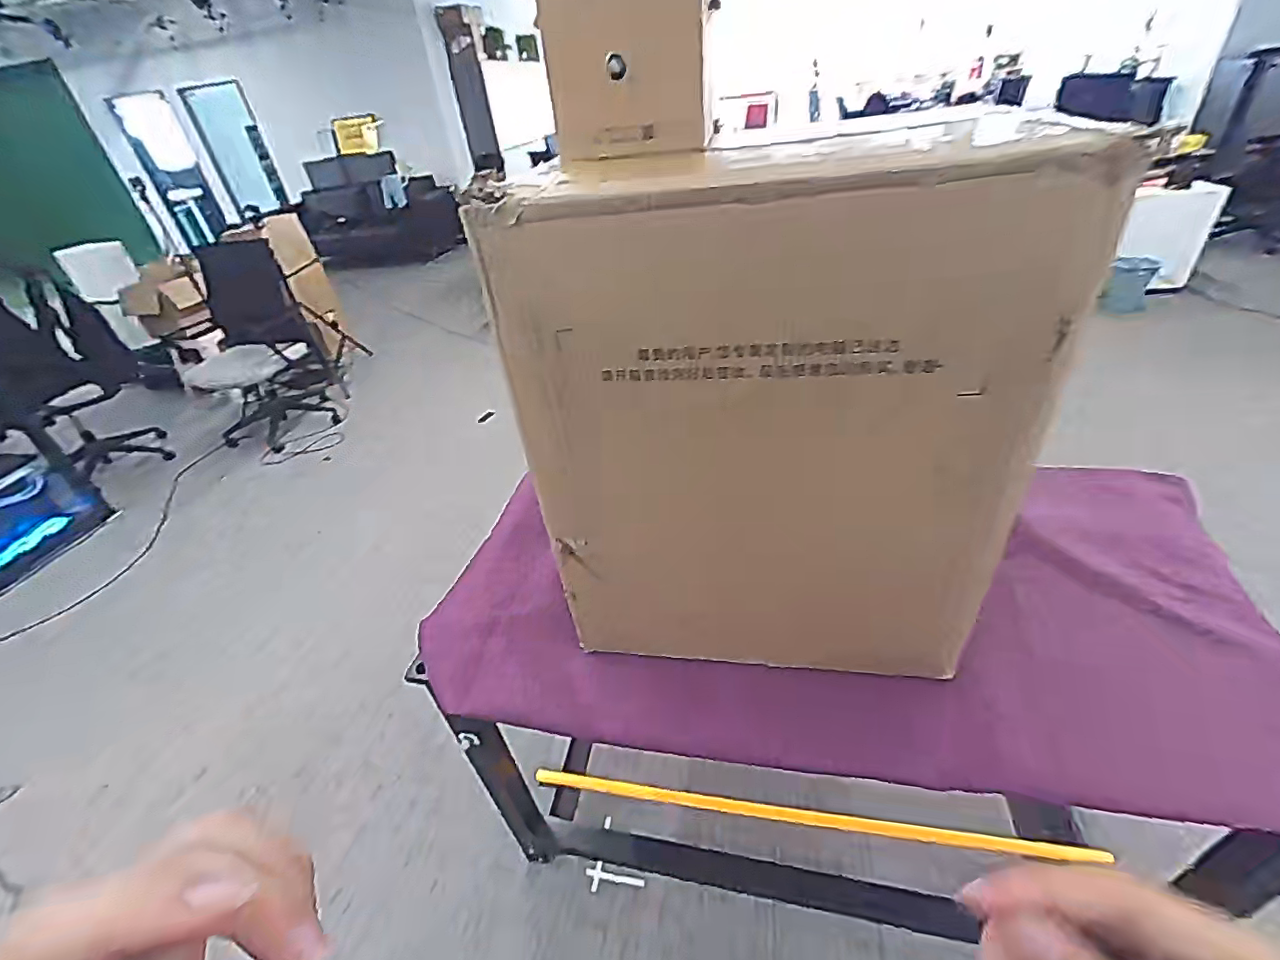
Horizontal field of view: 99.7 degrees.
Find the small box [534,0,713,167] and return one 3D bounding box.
[{"bbox_3d":[-0.004,-0.463,0.616,0.168,0.176,0.179,2,37,10],"label":"small box"}]
